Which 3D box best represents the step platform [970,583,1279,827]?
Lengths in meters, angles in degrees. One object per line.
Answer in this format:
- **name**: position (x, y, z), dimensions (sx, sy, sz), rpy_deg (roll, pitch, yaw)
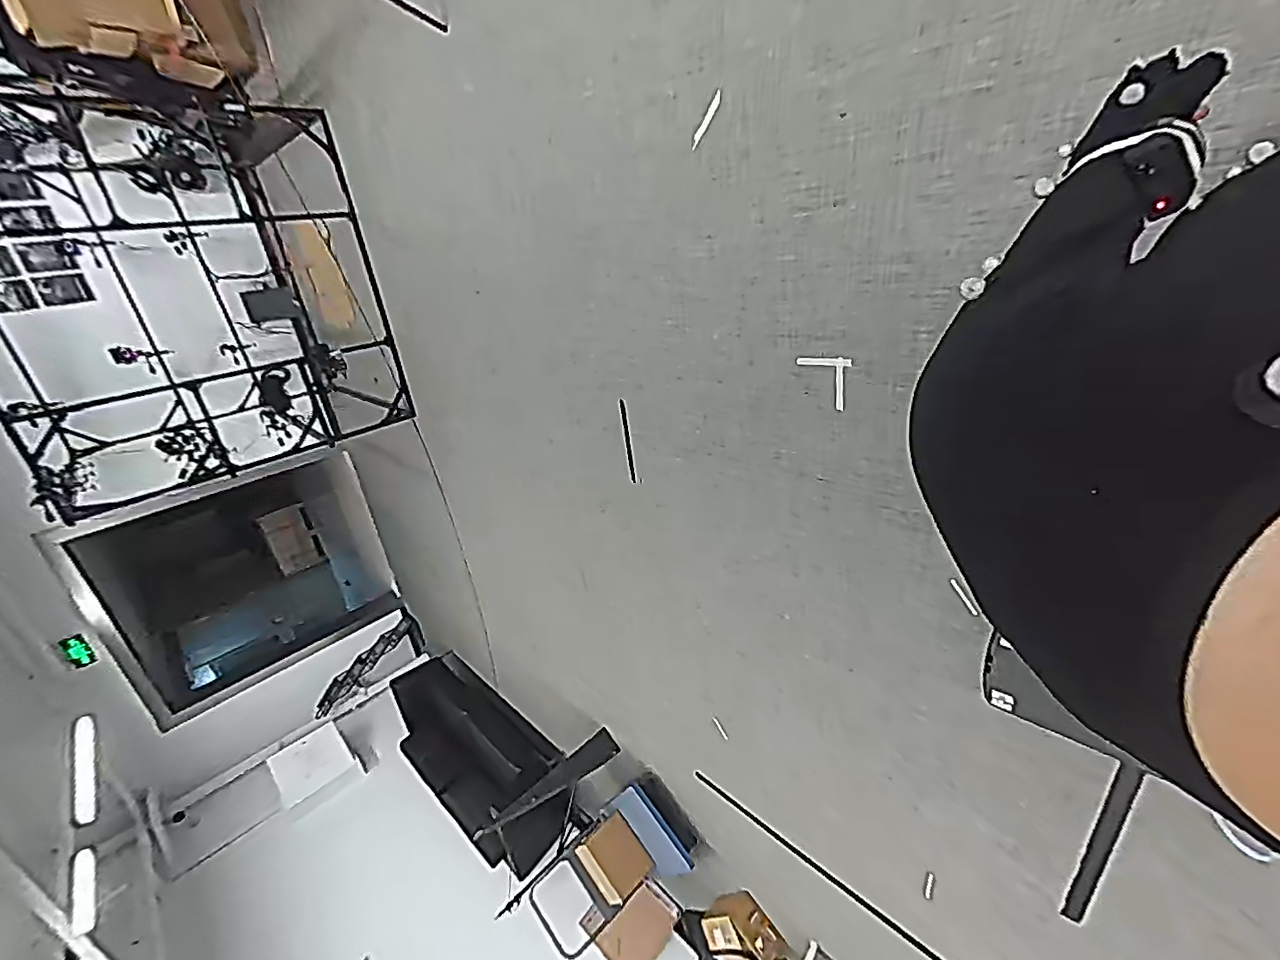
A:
- **step platform**: position (1.158, 0.492, 1.242), dimensions (0.684, 0.204, 0.286), rpy_deg (17, 124, 45)
